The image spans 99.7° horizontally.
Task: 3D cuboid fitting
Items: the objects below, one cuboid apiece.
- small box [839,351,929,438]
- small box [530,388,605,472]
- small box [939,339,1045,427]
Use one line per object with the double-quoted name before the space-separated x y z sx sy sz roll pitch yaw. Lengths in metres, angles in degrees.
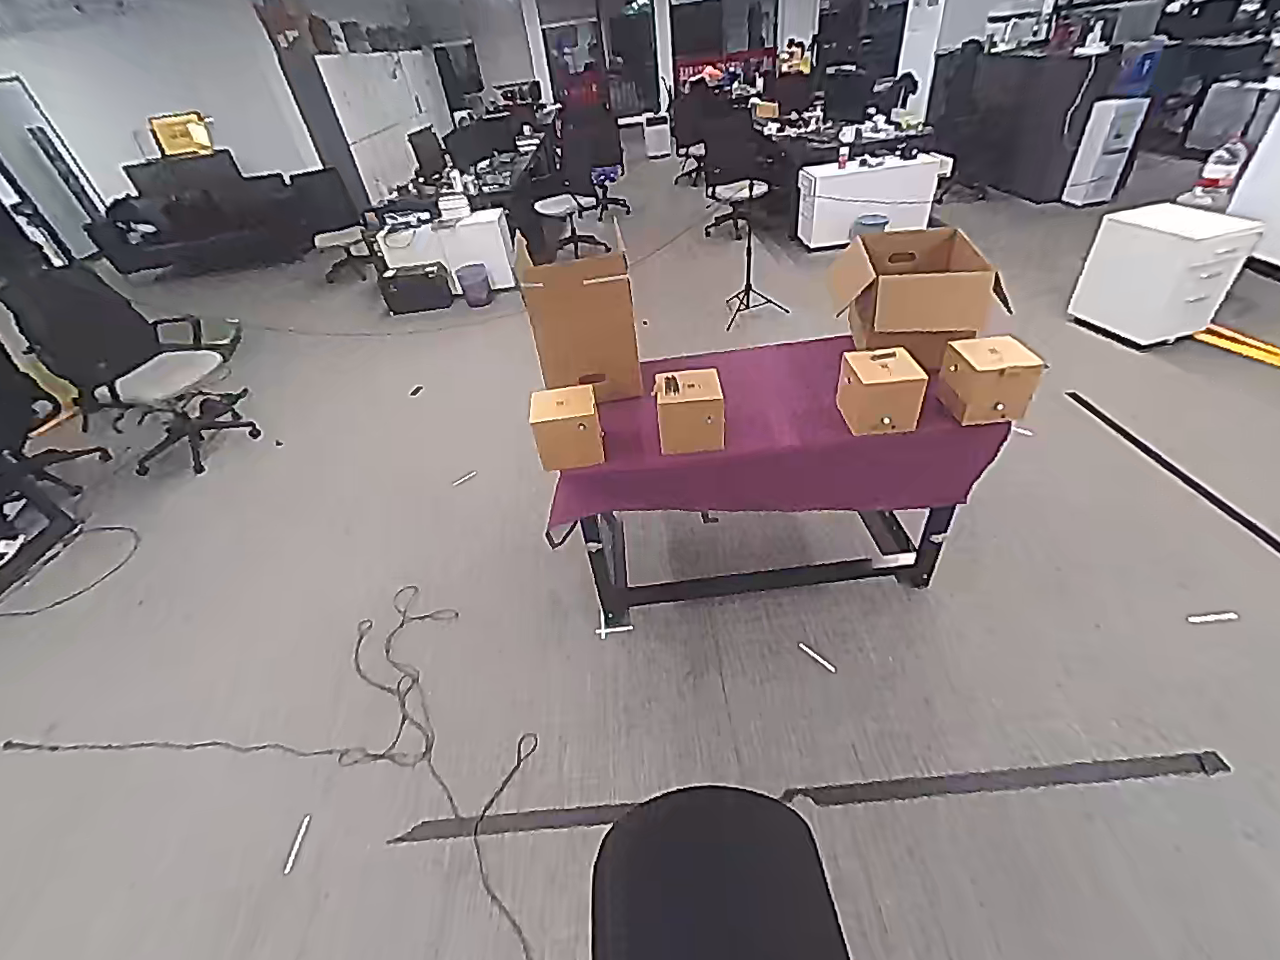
"small box" 0.659 -0.234 1.487 0.168 0.176 0.179 -5 39 4
"small box" -0.200 -0.137 1.520 0.179 0.176 0.168 -8 38 -2
"small box" 0.942 -0.263 1.468 0.168 0.176 0.179 -5 38 5
